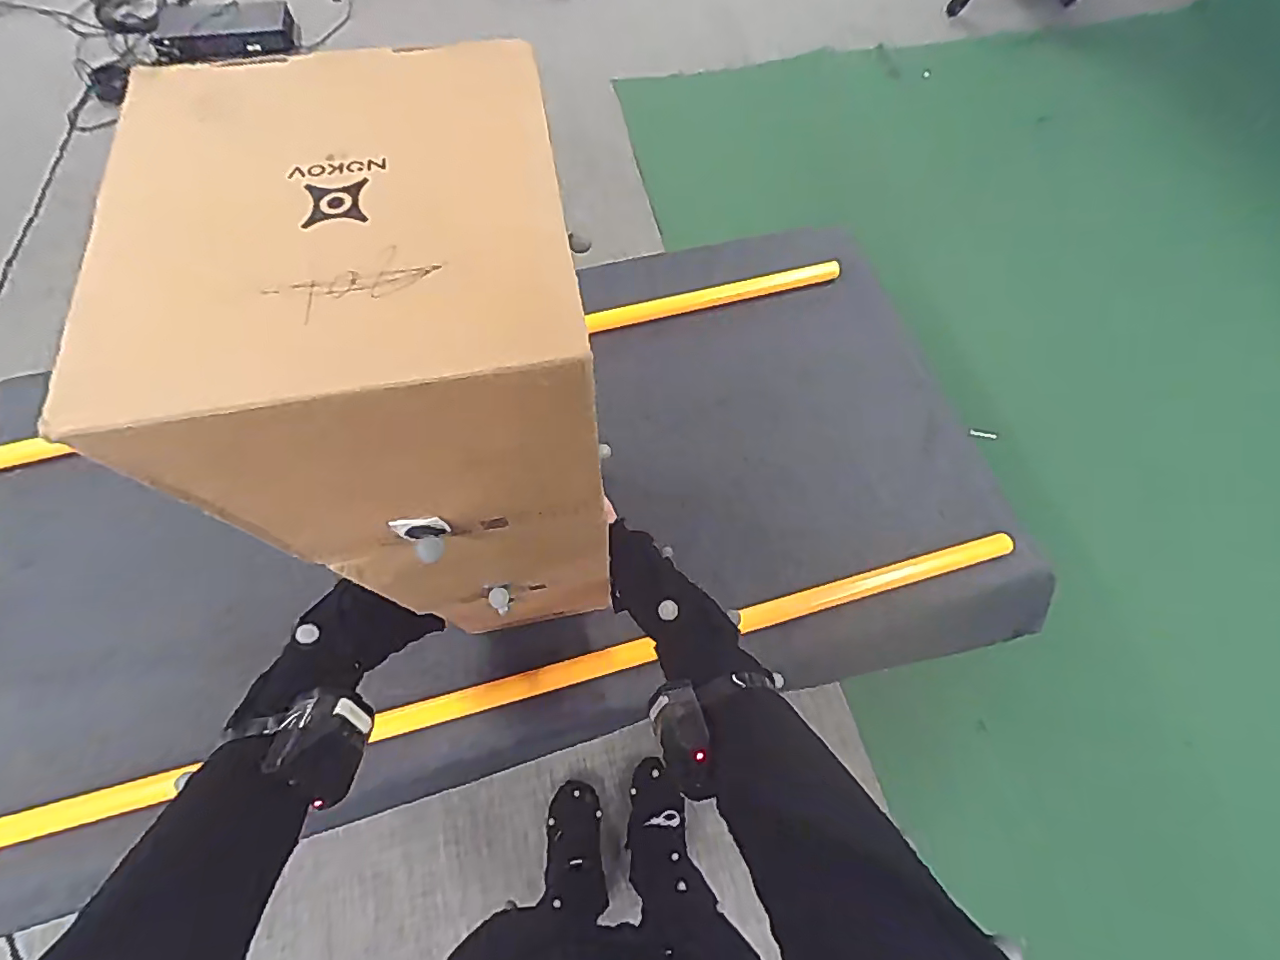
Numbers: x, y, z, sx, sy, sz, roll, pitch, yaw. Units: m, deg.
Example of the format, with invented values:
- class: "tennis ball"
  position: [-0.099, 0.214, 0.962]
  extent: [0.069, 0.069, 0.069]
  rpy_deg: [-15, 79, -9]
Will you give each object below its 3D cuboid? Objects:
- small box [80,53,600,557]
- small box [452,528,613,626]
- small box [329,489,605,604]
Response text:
- class: "small box"
  position: [-0.116, -0.074, 0.283]
  extent: [0.168, 0.176, 0.179]
  rpy_deg: [-10, 70, -6]
- class: "small box"
  position: [-0.126, 0.046, 0.587]
  extent: [0.168, 0.176, 0.179]
  rpy_deg: [-10, 69, -6]
- class: "small box"
  position: [-0.122, -0.013, 0.432]
  extent: [0.168, 0.176, 0.179]
  rpy_deg: [-9, 69, -6]
